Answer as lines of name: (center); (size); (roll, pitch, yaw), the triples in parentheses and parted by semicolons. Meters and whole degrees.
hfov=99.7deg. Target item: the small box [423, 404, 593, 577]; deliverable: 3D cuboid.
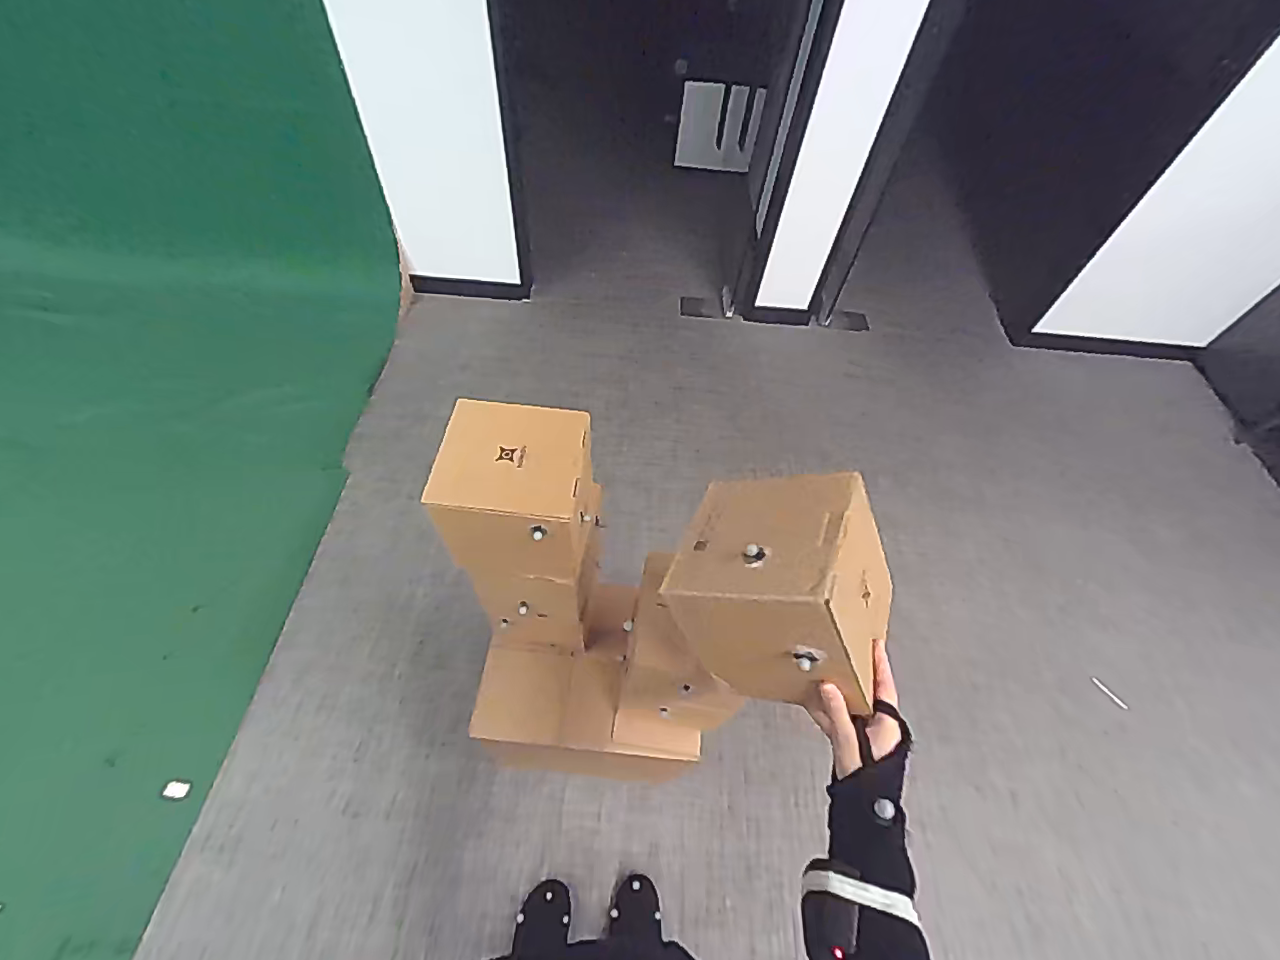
small box: (-0.162, 0.019, 0.731); (0.179, 0.176, 0.168); (5, 55, 0)

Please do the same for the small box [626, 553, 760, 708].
small box: (0.081, 0.229, 0.802); (0.179, 0.176, 0.168); (9, 55, 1)

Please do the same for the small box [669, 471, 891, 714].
small box: (0.152, 0.113, 0.567); (0.176, 0.179, 0.168); (-4, 38, 35)

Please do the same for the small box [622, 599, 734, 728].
small box: (0.064, 0.322, 0.936); (0.179, 0.176, 0.168); (8, 57, 1)
